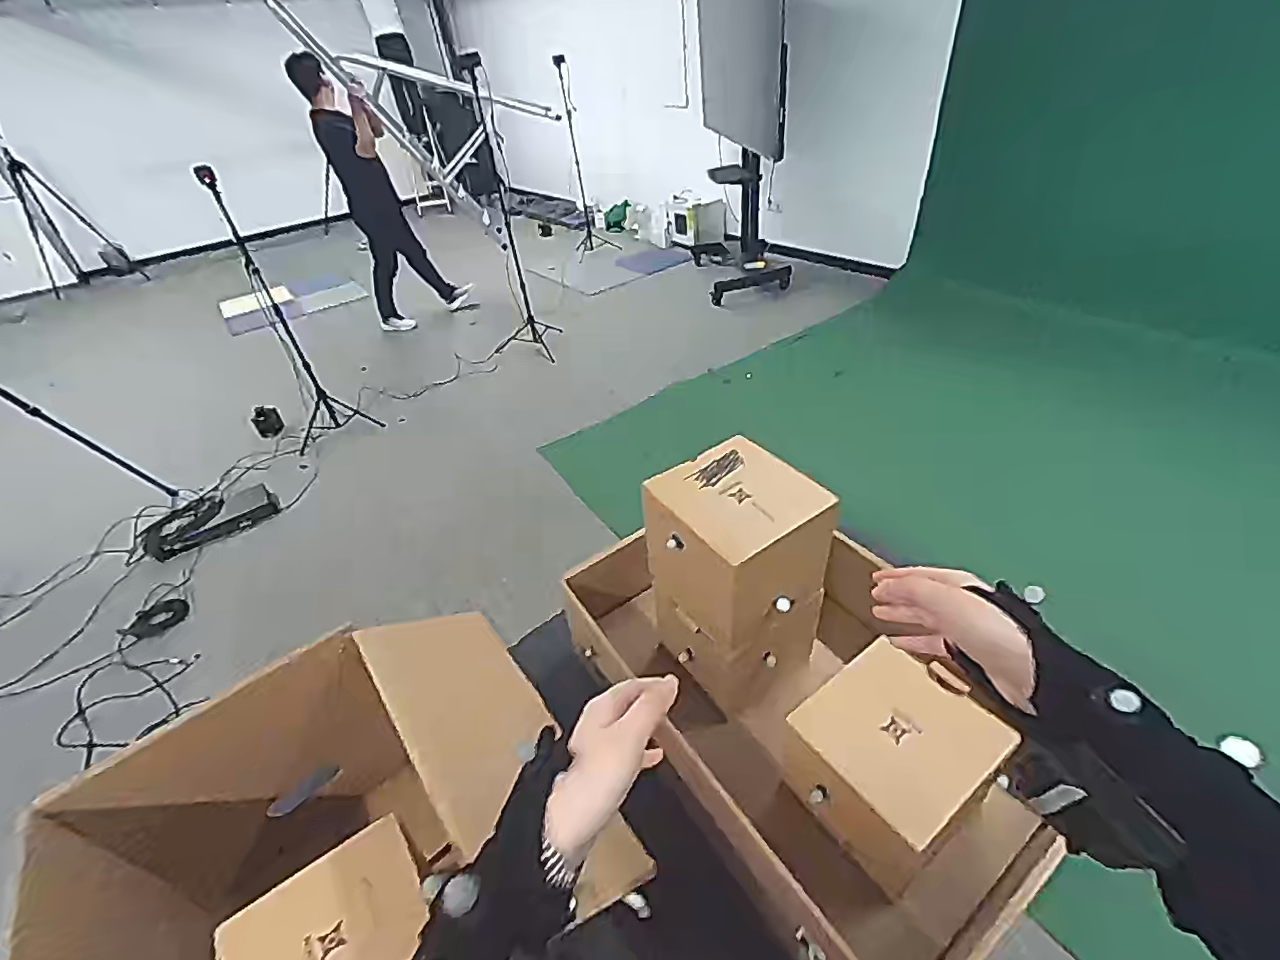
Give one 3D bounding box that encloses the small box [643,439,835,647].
[{"bbox_3d":[0.120,0.079,0.707,0.168,0.176,0.179,-26,45,-23],"label":"small box"}]
